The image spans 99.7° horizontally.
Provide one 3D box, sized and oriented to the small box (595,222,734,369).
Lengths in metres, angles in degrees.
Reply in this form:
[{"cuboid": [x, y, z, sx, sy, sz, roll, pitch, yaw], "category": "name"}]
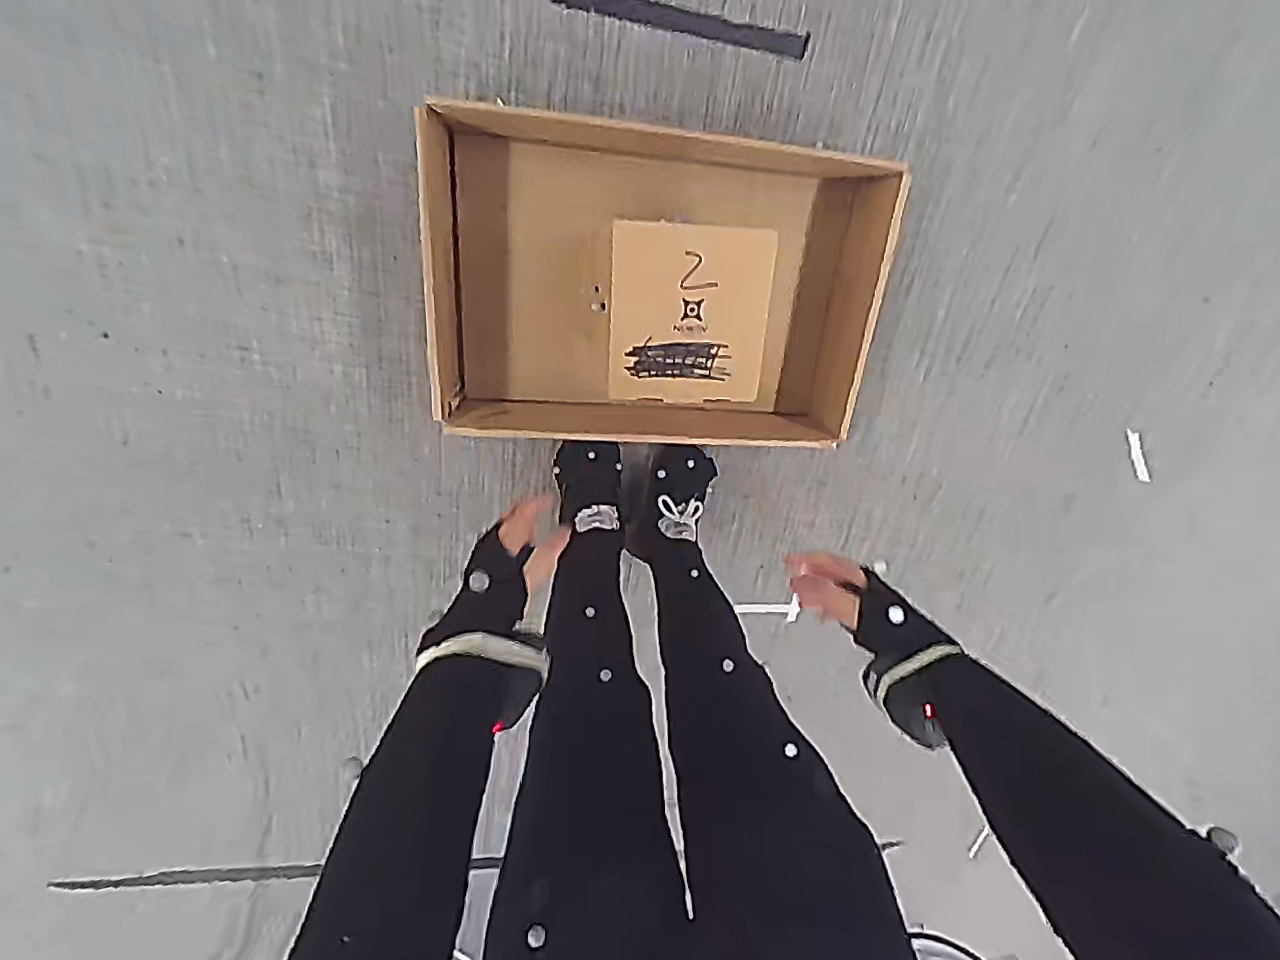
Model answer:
[{"cuboid": [0.023, -0.266, 0.776, 0.168, 0.176, 0.179, 0, 114, -8], "category": "small box"}]
